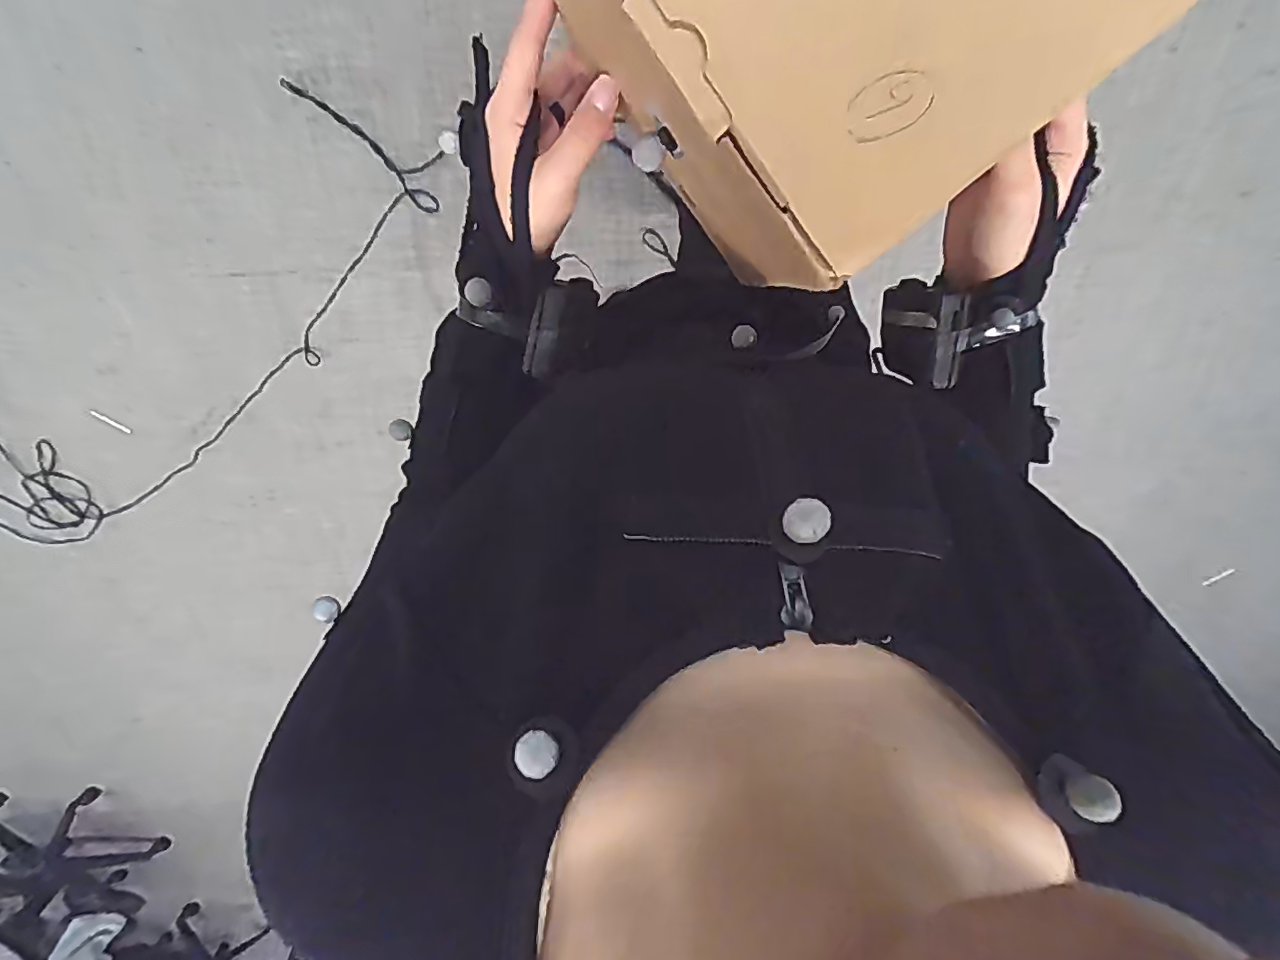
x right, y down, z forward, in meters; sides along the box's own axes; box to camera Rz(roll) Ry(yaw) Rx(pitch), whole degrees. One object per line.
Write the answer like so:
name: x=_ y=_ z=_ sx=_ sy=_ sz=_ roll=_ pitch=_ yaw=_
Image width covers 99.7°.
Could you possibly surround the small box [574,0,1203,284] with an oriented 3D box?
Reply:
small box: x=0.080 y=-0.199 z=0.215 sx=0.179 sy=0.176 sz=0.168 roll=-38 pitch=105 yaw=14
